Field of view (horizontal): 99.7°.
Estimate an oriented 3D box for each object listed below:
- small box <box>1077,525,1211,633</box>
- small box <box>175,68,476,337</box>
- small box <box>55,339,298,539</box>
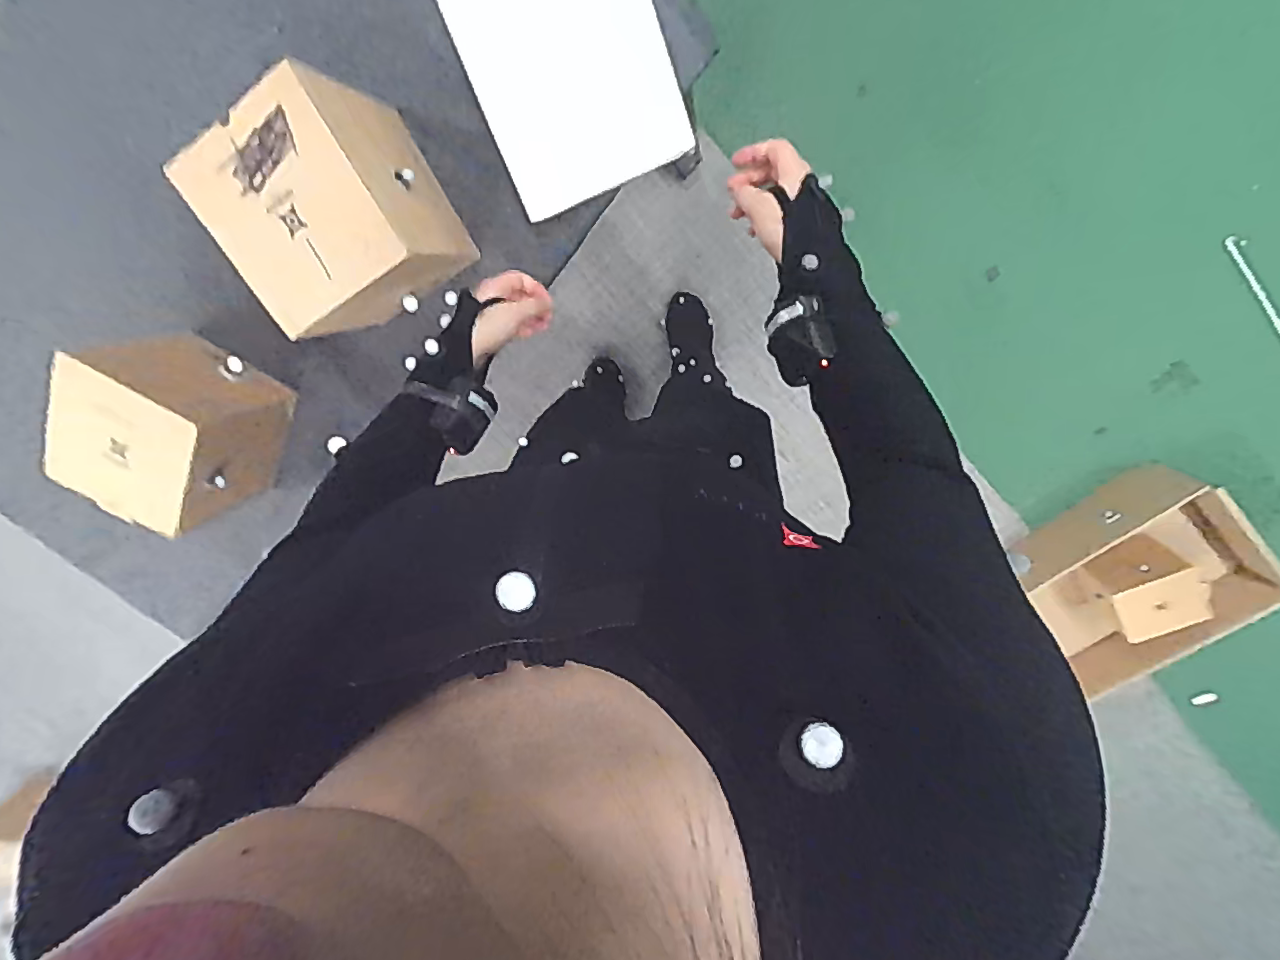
[{"bbox_3d":[1.244,0.243,1.353,0.179,0.176,0.168,-30,107,18],"label":"small box"},{"bbox_3d":[-0.312,-0.276,0.575,0.168,0.176,0.179,-26,107,17],"label":"small box"},{"bbox_3d":[-0.588,-0.061,0.704,0.168,0.176,0.179,28,112,-6],"label":"small box"}]
